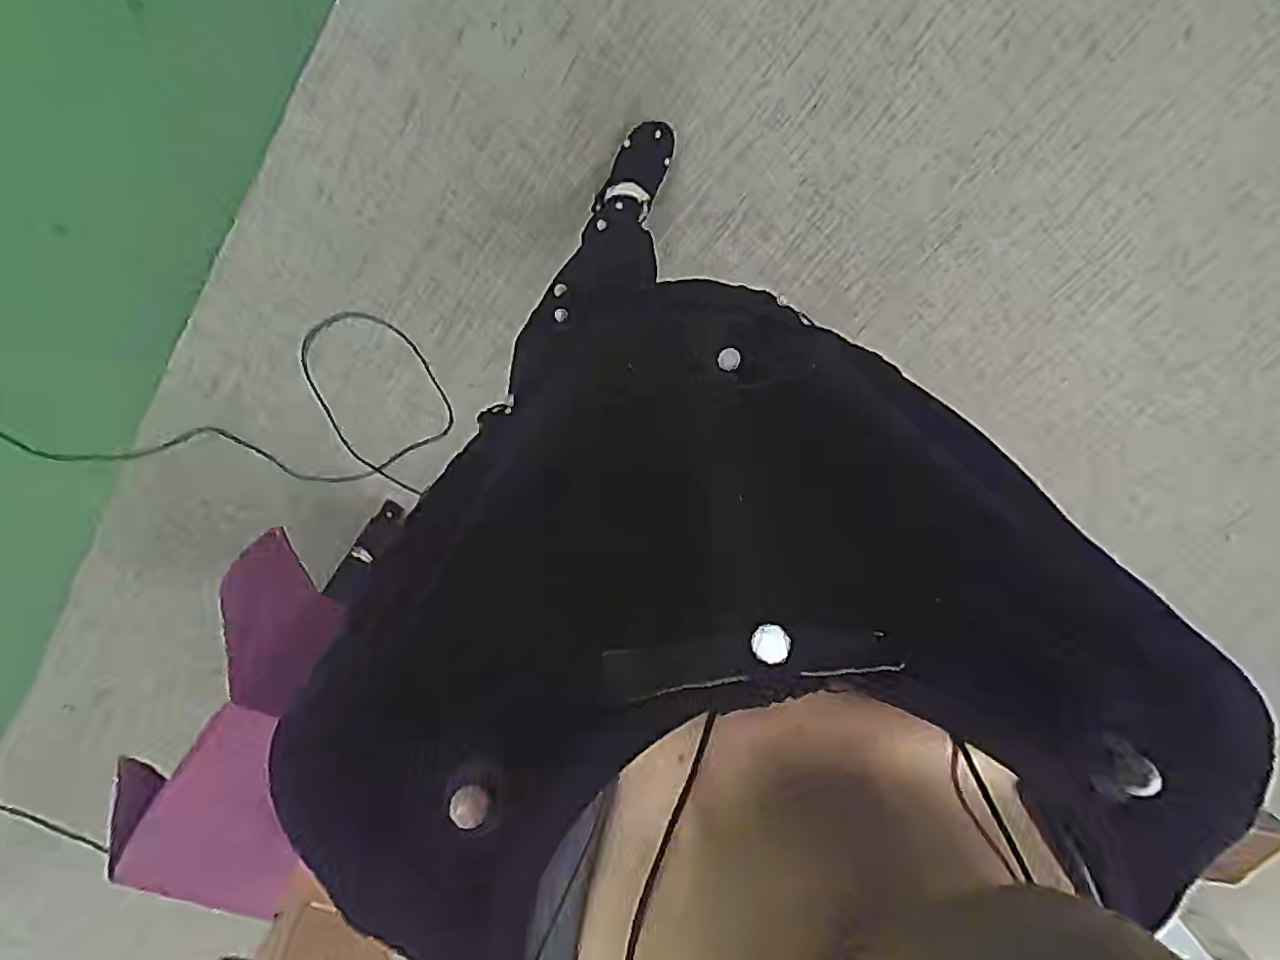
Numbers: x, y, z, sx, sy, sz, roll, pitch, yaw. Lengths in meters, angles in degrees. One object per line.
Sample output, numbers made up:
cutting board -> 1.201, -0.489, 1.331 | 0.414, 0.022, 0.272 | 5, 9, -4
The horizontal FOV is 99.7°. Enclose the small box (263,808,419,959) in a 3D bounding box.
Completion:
small box -> -0.528, 0.740, 0.985 | 0.168, 0.176, 0.179 | 37, 109, -20
